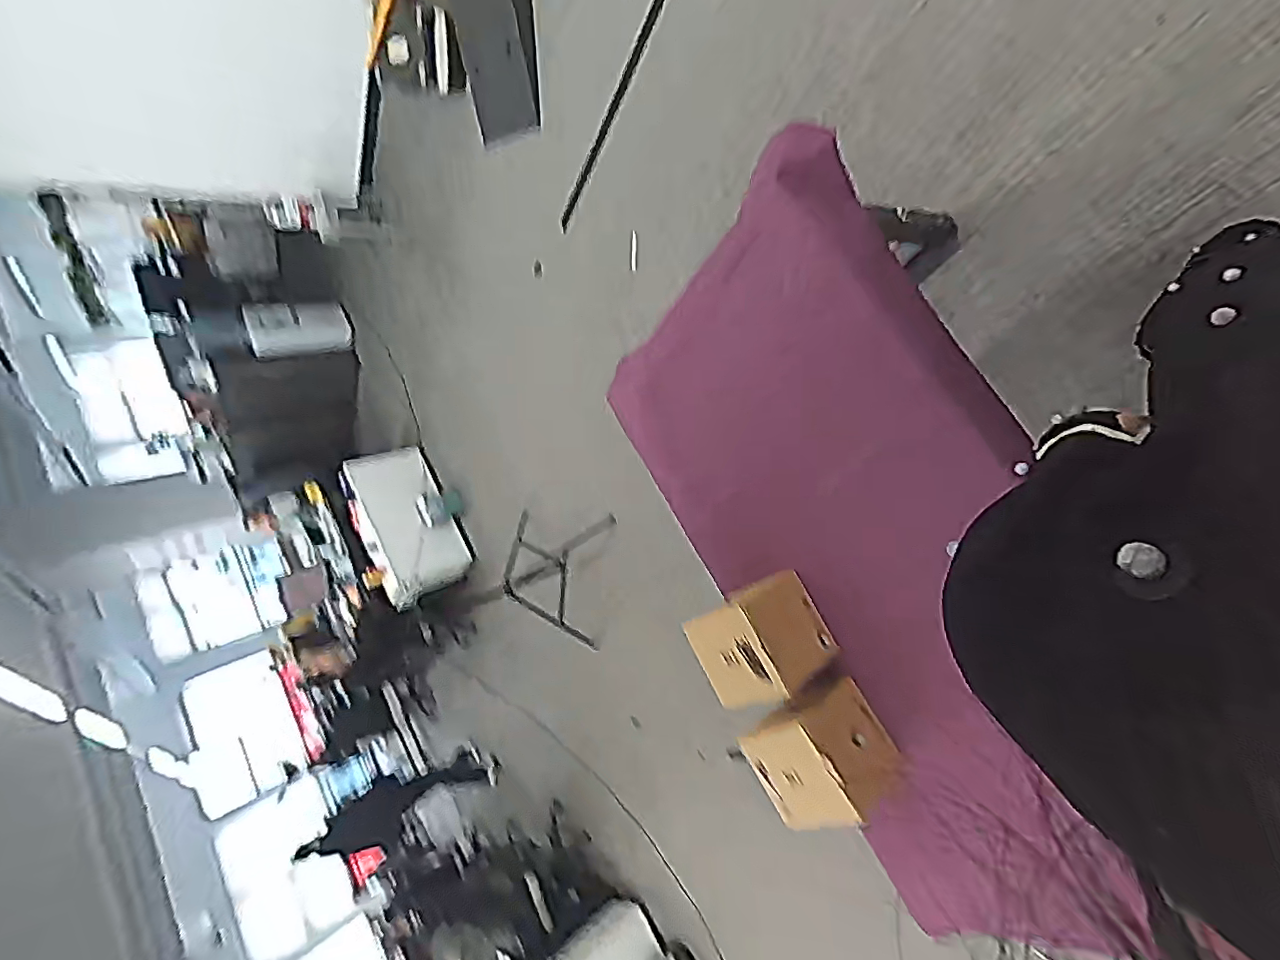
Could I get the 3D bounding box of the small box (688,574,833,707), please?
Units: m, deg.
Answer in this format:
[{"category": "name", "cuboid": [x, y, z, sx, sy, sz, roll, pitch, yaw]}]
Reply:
[{"category": "small box", "cuboid": [0.230, 0.294, 1.004, 0.179, 0.176, 0.168, -41, 73, 49]}]
